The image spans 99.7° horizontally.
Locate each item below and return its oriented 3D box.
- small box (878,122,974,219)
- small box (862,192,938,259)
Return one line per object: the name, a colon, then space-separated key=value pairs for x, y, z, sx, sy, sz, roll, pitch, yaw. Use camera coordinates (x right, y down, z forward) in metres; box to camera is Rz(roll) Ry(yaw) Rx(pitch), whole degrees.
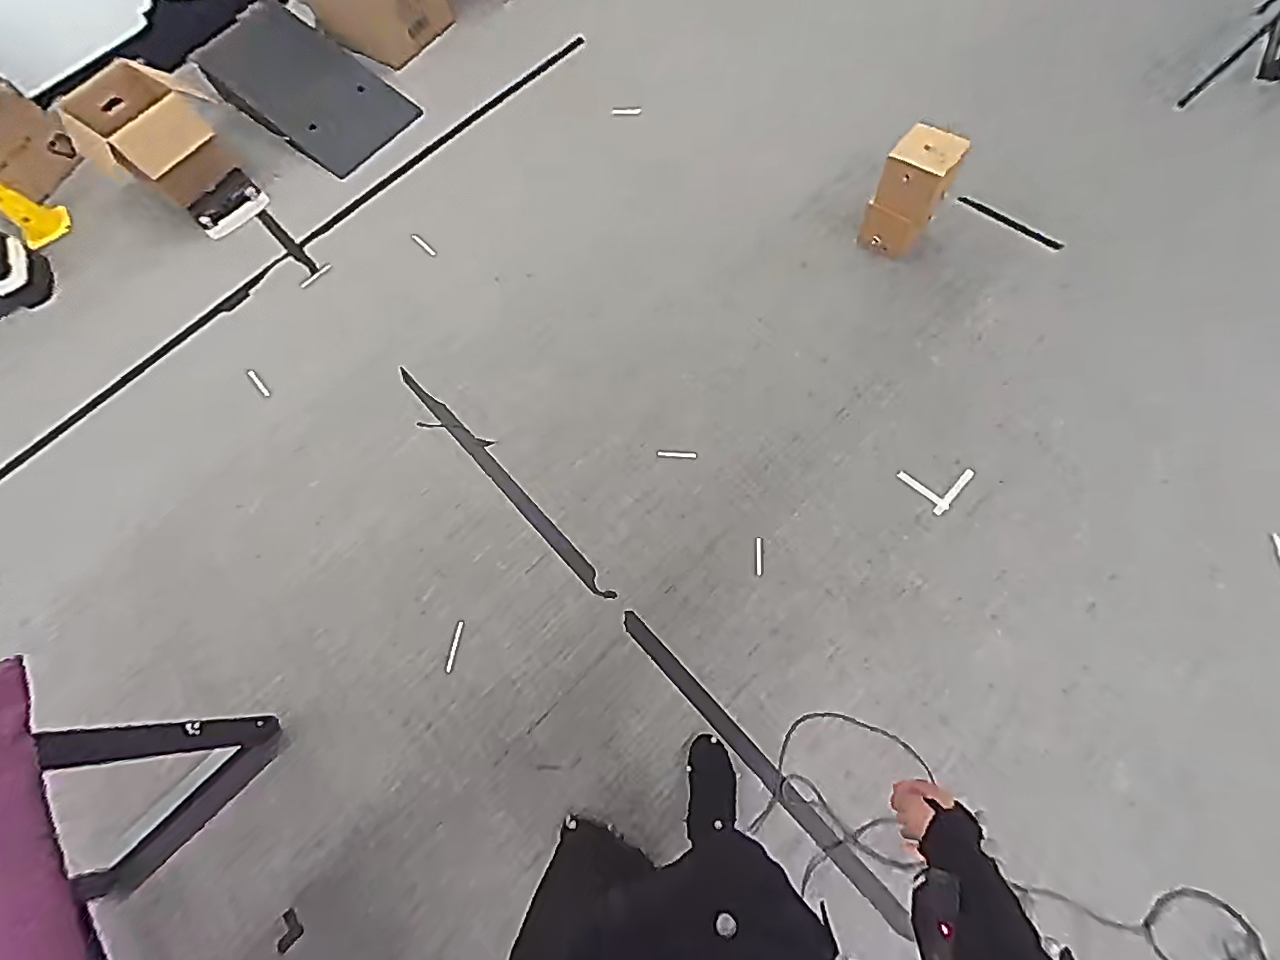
small box: x=0.856 y=-0.932 z=1.638 sx=0.179 sy=0.176 sz=0.168 roll=38 pitch=78 yaw=20
small box: x=0.865 y=-0.878 z=1.794 sx=0.168 sy=0.176 sz=0.179 roll=39 pitch=79 yaw=20
